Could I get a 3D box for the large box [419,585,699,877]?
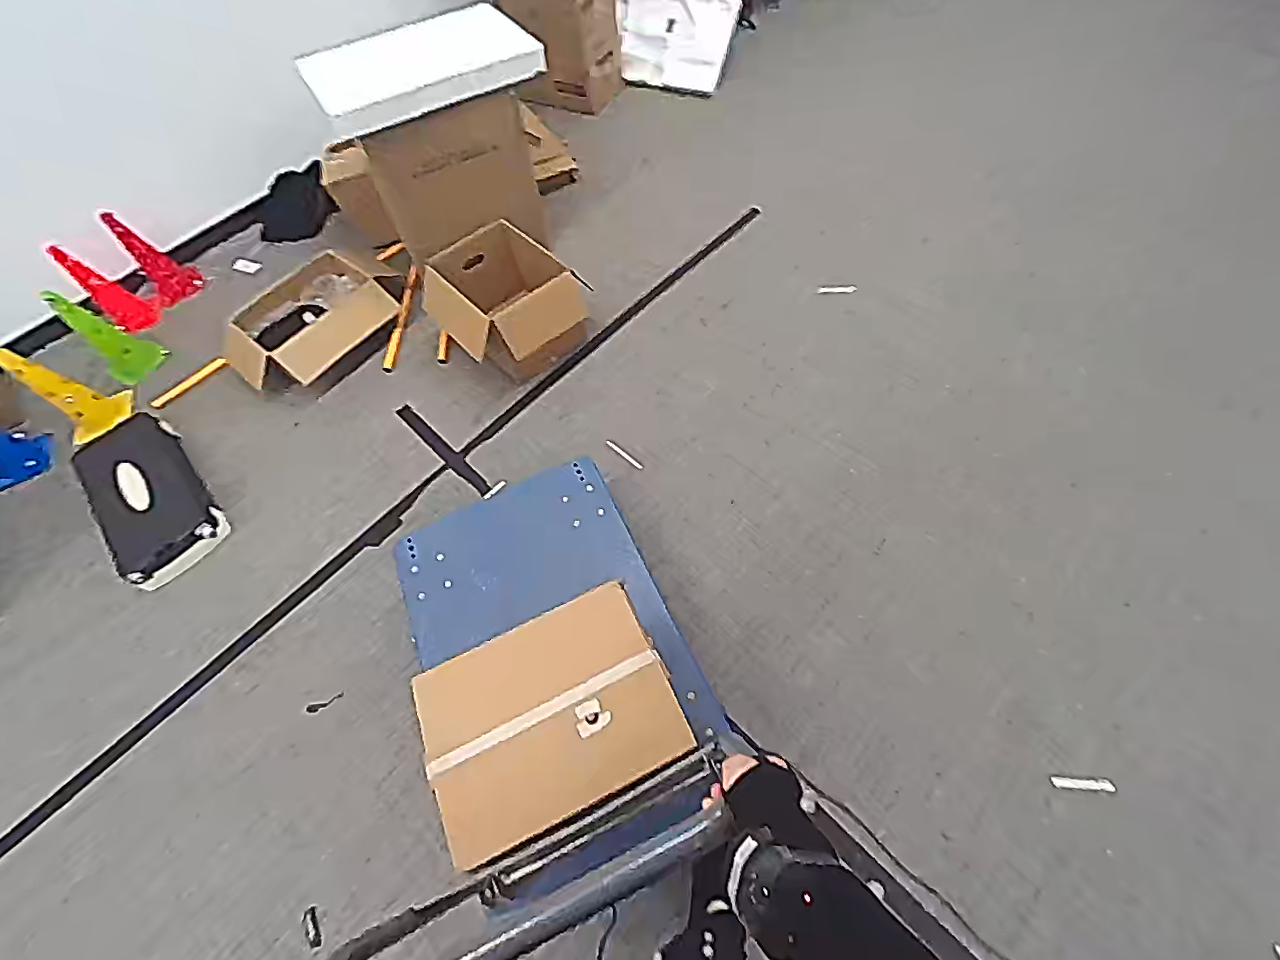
[{"bbox_3d":[-0.134,0.470,1.028,0.408,0.320,0.320,-25,60,-8],"label":"large box"}]
